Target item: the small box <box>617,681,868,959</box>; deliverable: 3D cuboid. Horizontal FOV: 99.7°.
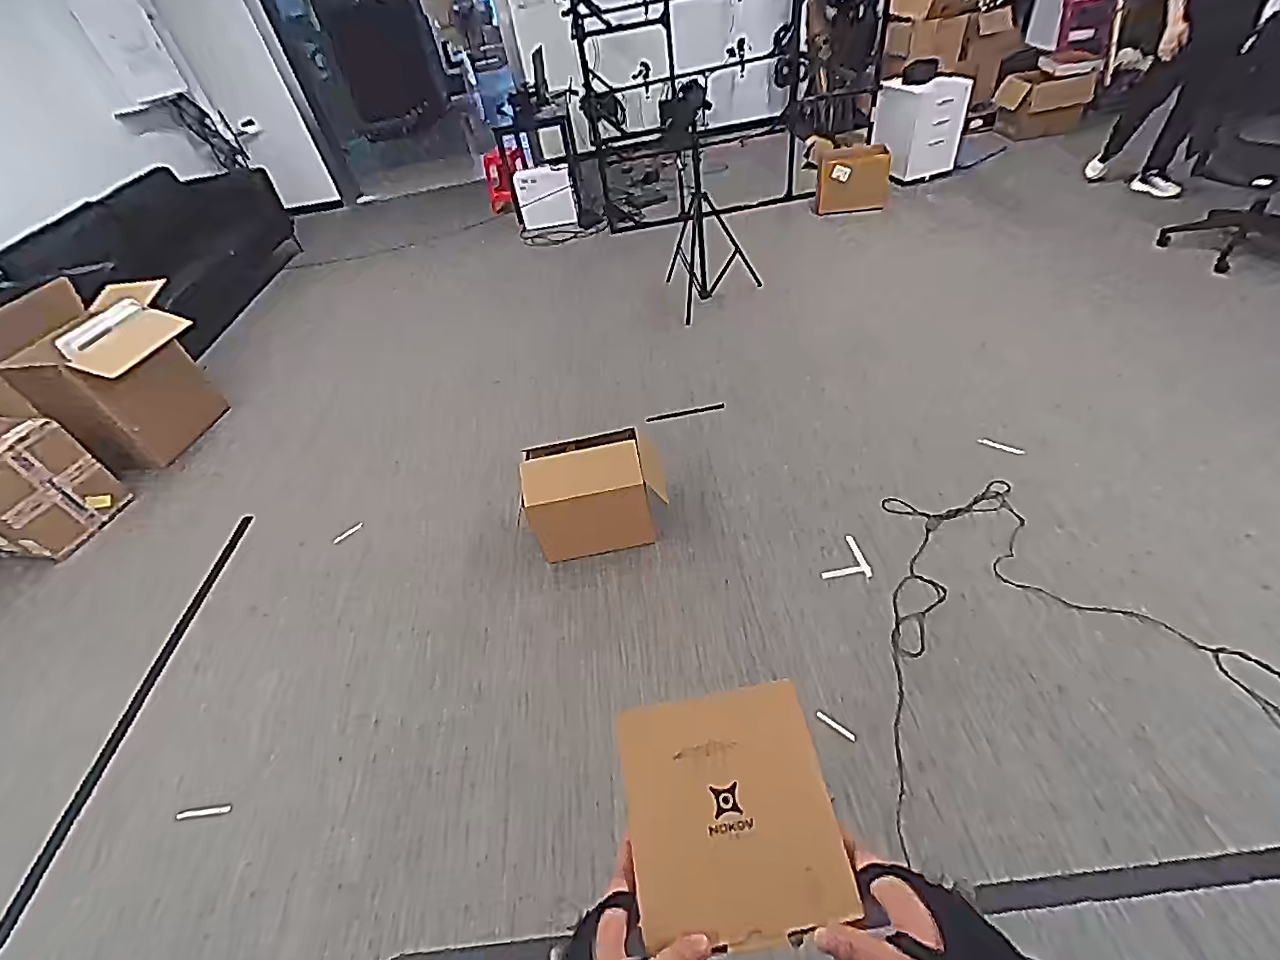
[{"bbox_3d":[0.079,0.306,0.496,0.168,0.176,0.179,-10,55,-2],"label":"small box"}]
